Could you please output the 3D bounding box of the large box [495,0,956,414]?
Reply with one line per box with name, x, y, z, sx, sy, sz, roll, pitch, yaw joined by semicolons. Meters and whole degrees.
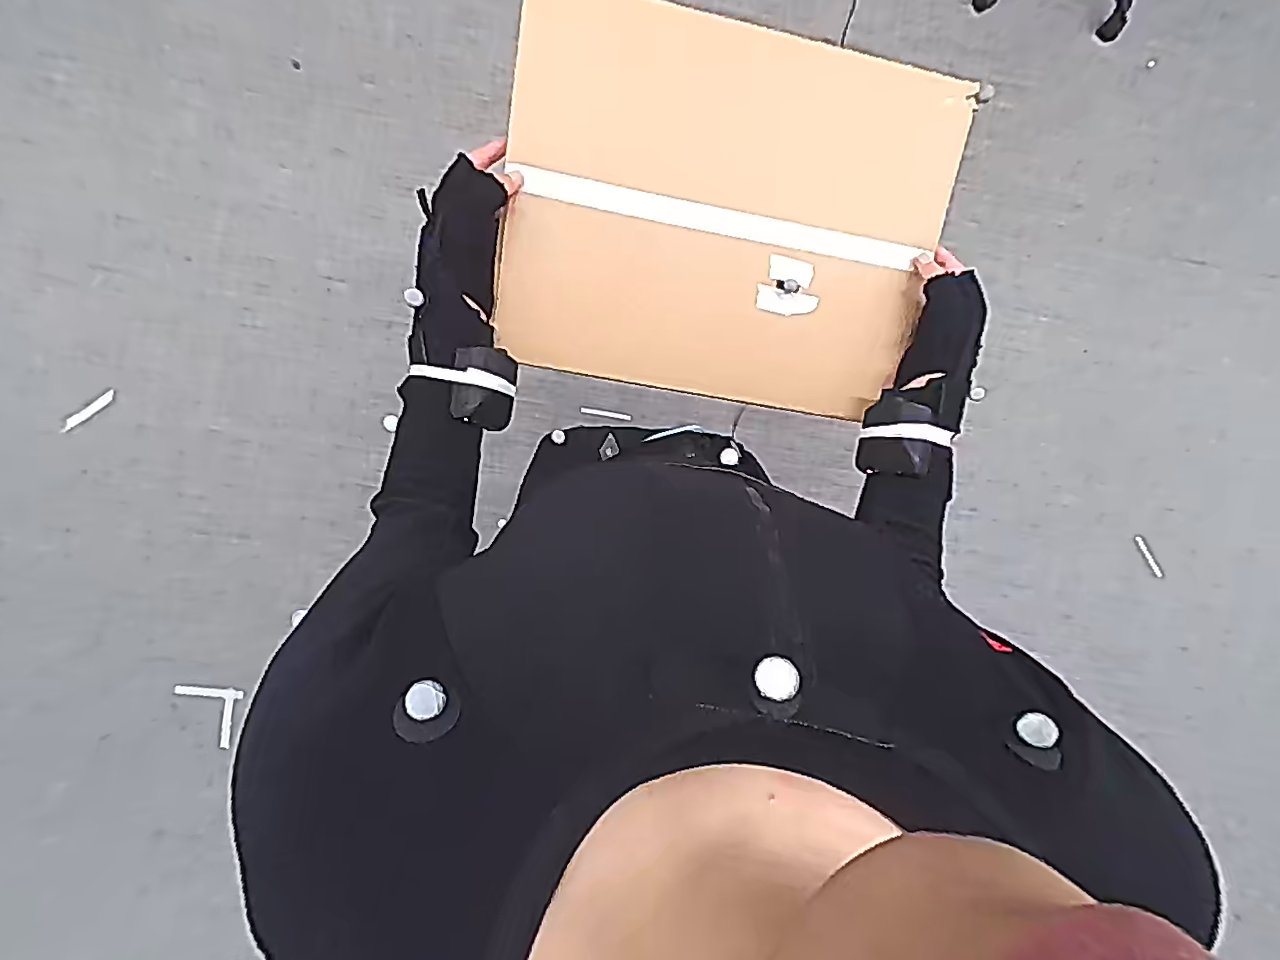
large box;0.063;-0.277;0.654;0.408;0.320;0.320;9;104;-8
